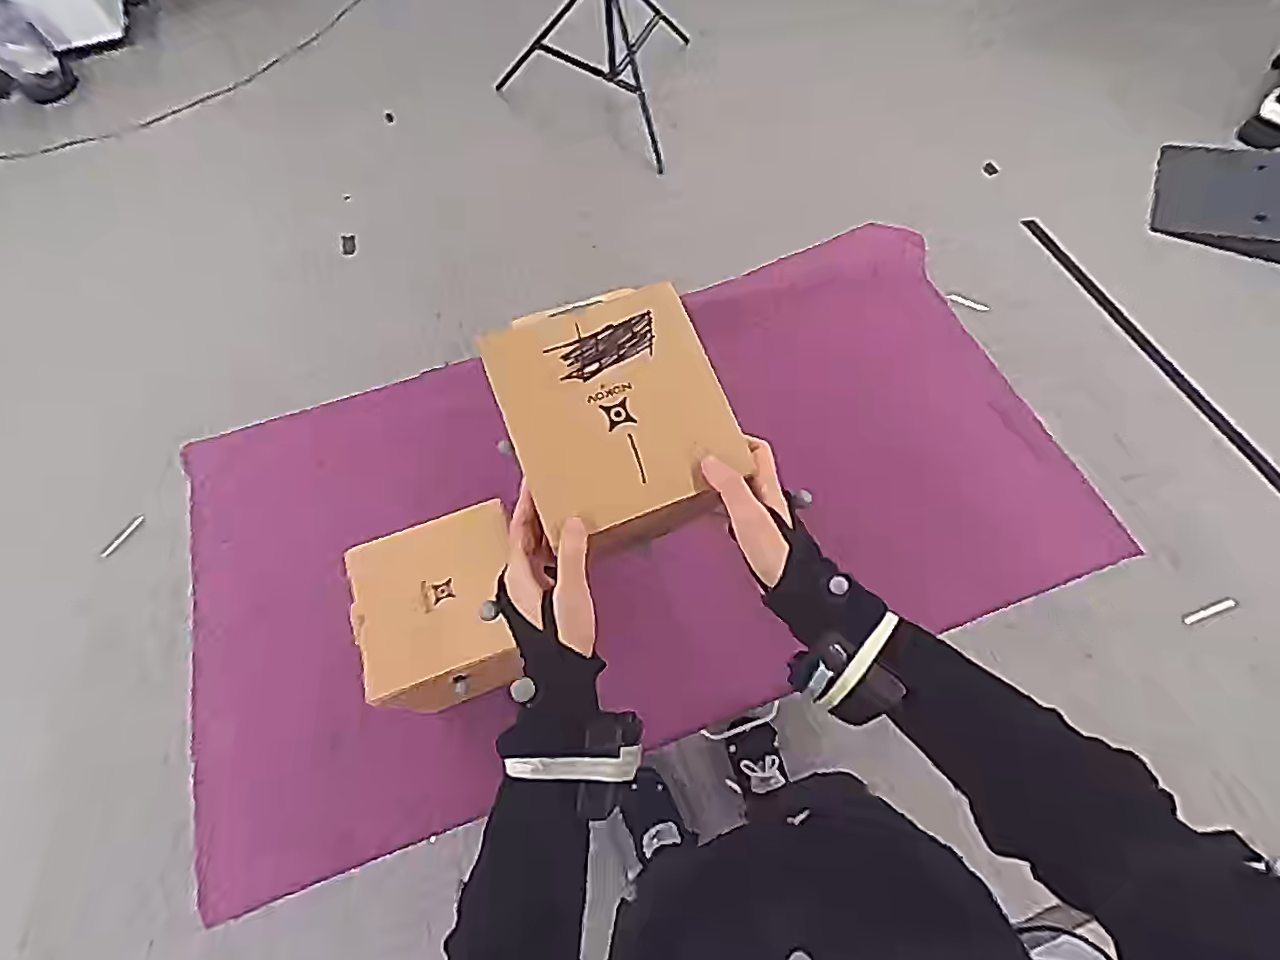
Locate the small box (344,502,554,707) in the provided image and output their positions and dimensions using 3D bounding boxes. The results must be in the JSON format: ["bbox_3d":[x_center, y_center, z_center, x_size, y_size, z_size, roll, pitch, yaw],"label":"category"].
[{"bbox_3d":[-0.210,0.153,0.636,0.179,0.176,0.168,-20,66,-6],"label":"small box"}]

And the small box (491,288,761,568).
[{"bbox_3d":[-0.020,-0.035,0.492,0.168,0.176,0.179,-20,77,-9],"label":"small box"}]
